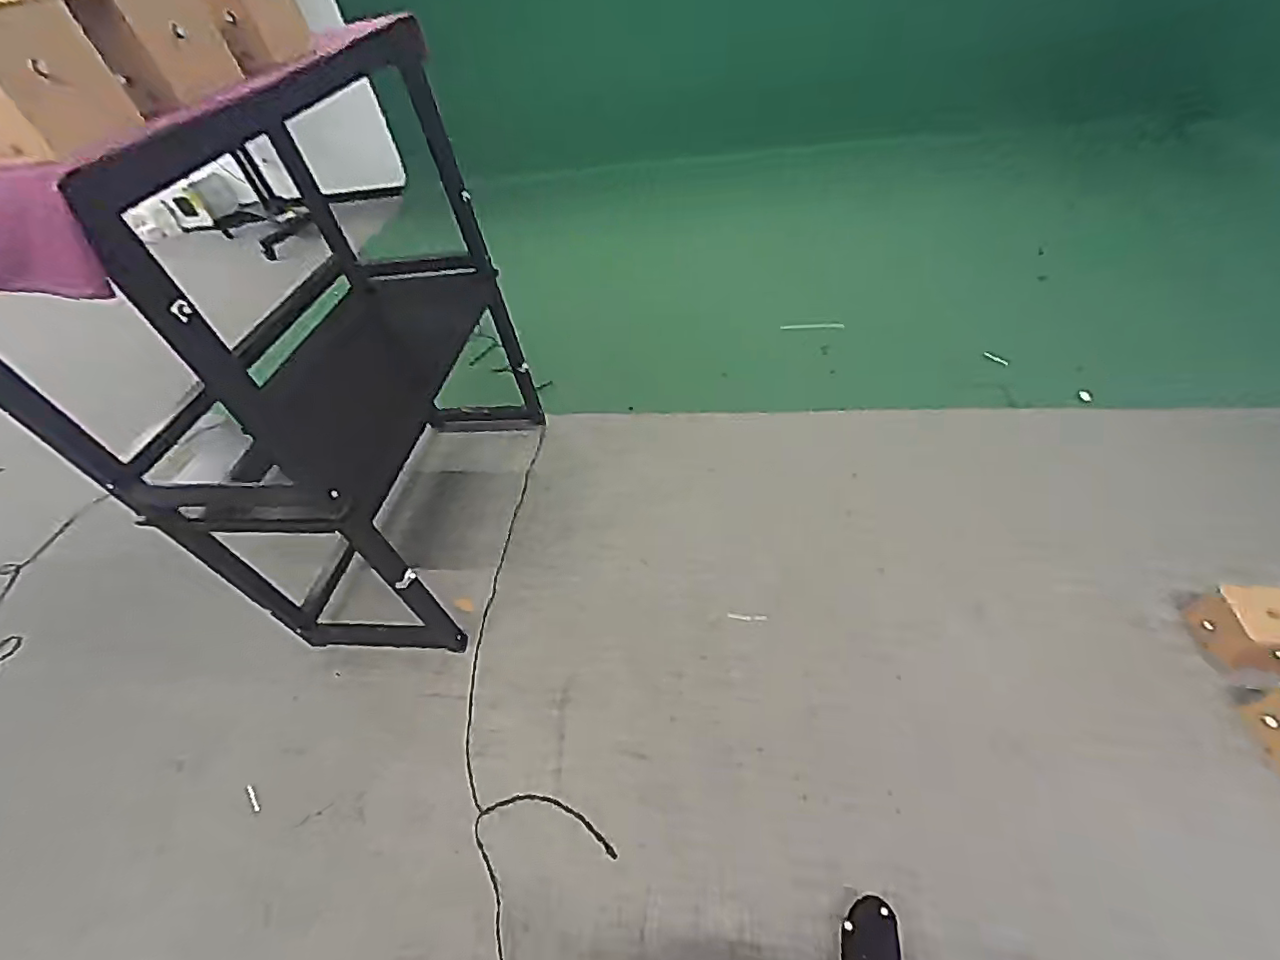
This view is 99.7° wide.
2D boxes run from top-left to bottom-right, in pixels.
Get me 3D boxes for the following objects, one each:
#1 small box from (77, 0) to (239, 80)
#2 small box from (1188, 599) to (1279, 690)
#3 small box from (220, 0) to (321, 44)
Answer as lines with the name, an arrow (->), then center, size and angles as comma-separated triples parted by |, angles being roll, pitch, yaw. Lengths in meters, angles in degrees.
small box -> -0.879, -0.846, 0.974 | 0.168, 0.176, 0.179 | 5, 51, 14
small box -> 1.599, 0.432, 1.411 | 0.179, 0.176, 0.168 | 3, 50, 11
small box -> -0.828, -1.052, 1.151 | 0.168, 0.176, 0.179 | 2, 49, 12
